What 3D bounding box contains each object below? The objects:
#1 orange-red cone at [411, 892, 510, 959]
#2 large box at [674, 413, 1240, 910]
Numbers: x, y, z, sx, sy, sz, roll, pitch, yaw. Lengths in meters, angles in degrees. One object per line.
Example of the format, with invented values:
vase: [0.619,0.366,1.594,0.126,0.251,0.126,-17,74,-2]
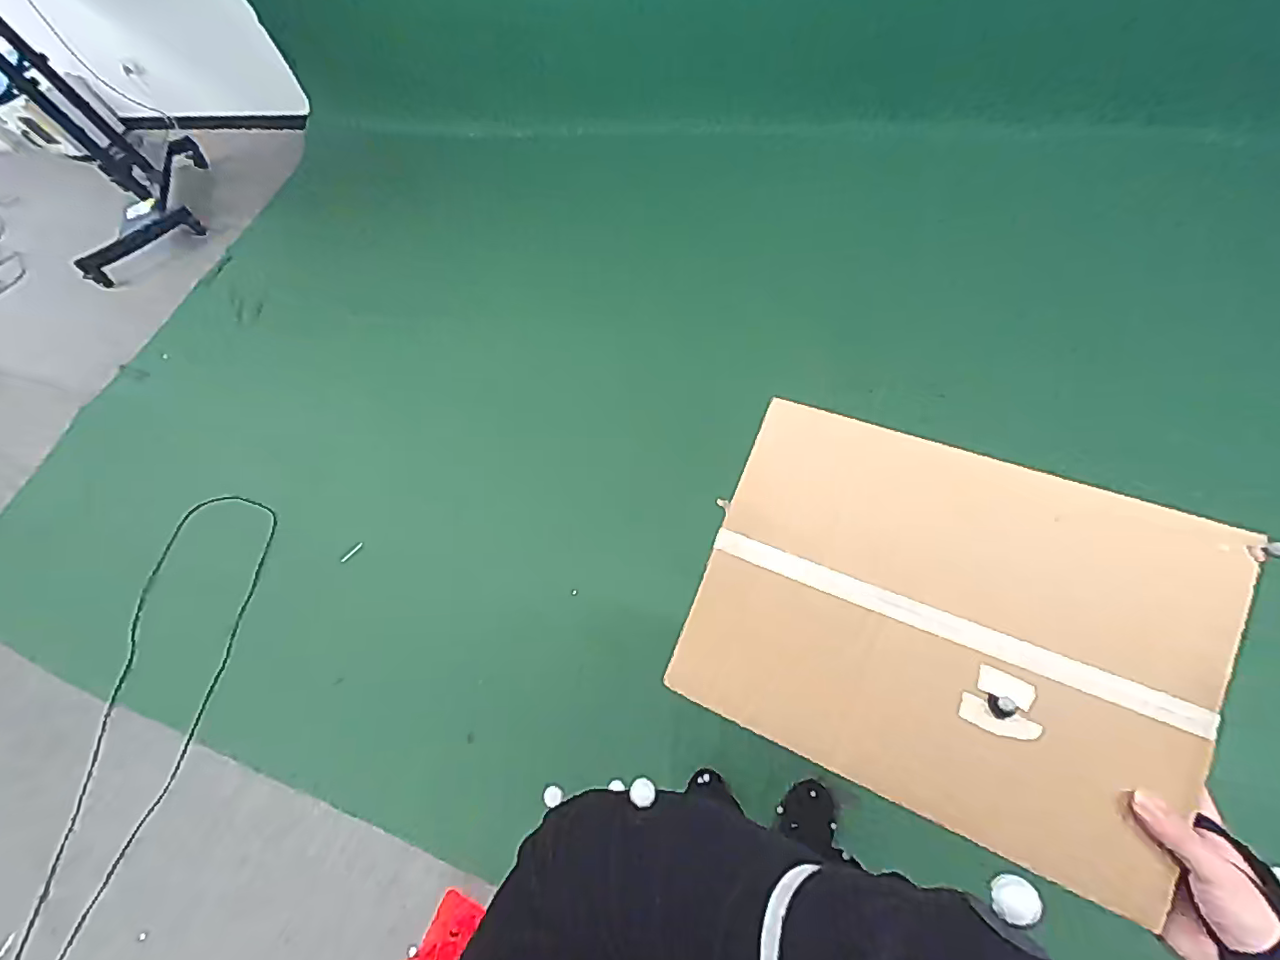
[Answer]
orange-red cone: [-0.465,1.068,1.158,0.199,0.360,0.198,18,67,21]
large box: [0.297,0.159,0.626,0.408,0.320,0.320,20,84,18]
